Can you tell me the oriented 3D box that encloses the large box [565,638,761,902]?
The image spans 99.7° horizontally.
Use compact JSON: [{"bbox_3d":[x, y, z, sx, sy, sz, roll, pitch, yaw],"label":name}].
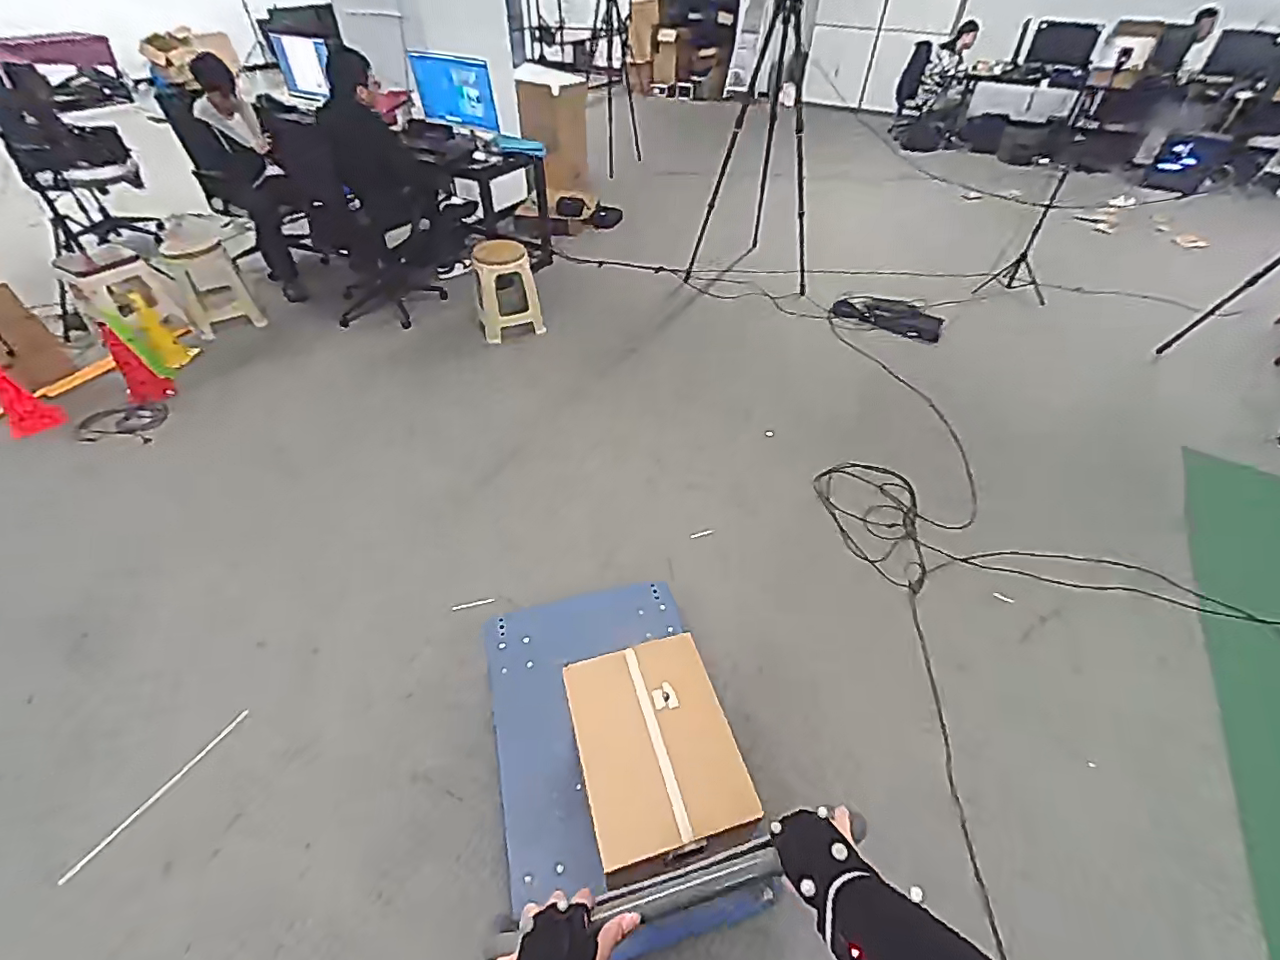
[{"bbox_3d":[0.032,0.648,1.235,0.320,0.320,0.408,-11,44,-13],"label":"large box"}]
